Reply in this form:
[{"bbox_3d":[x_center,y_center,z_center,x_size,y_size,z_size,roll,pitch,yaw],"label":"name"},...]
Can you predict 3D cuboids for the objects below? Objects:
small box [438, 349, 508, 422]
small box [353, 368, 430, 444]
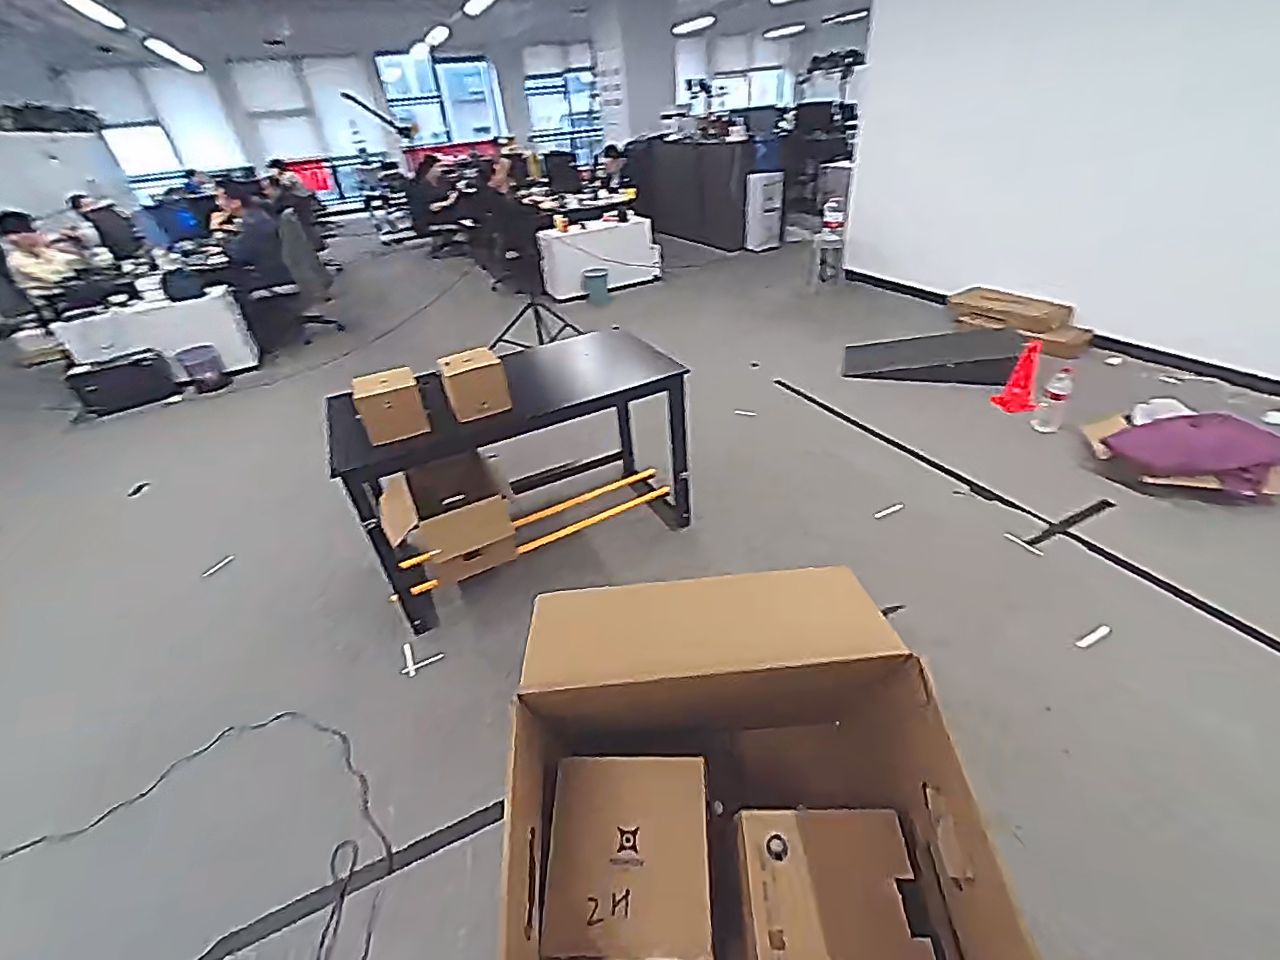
[{"bbox_3d":[-0.546,-0.313,1.790,0.179,0.176,0.168,-20,37,-21],"label":"small box"},{"bbox_3d":[-0.782,-0.231,1.705,0.179,0.176,0.168,-18,38,-20],"label":"small box"}]
